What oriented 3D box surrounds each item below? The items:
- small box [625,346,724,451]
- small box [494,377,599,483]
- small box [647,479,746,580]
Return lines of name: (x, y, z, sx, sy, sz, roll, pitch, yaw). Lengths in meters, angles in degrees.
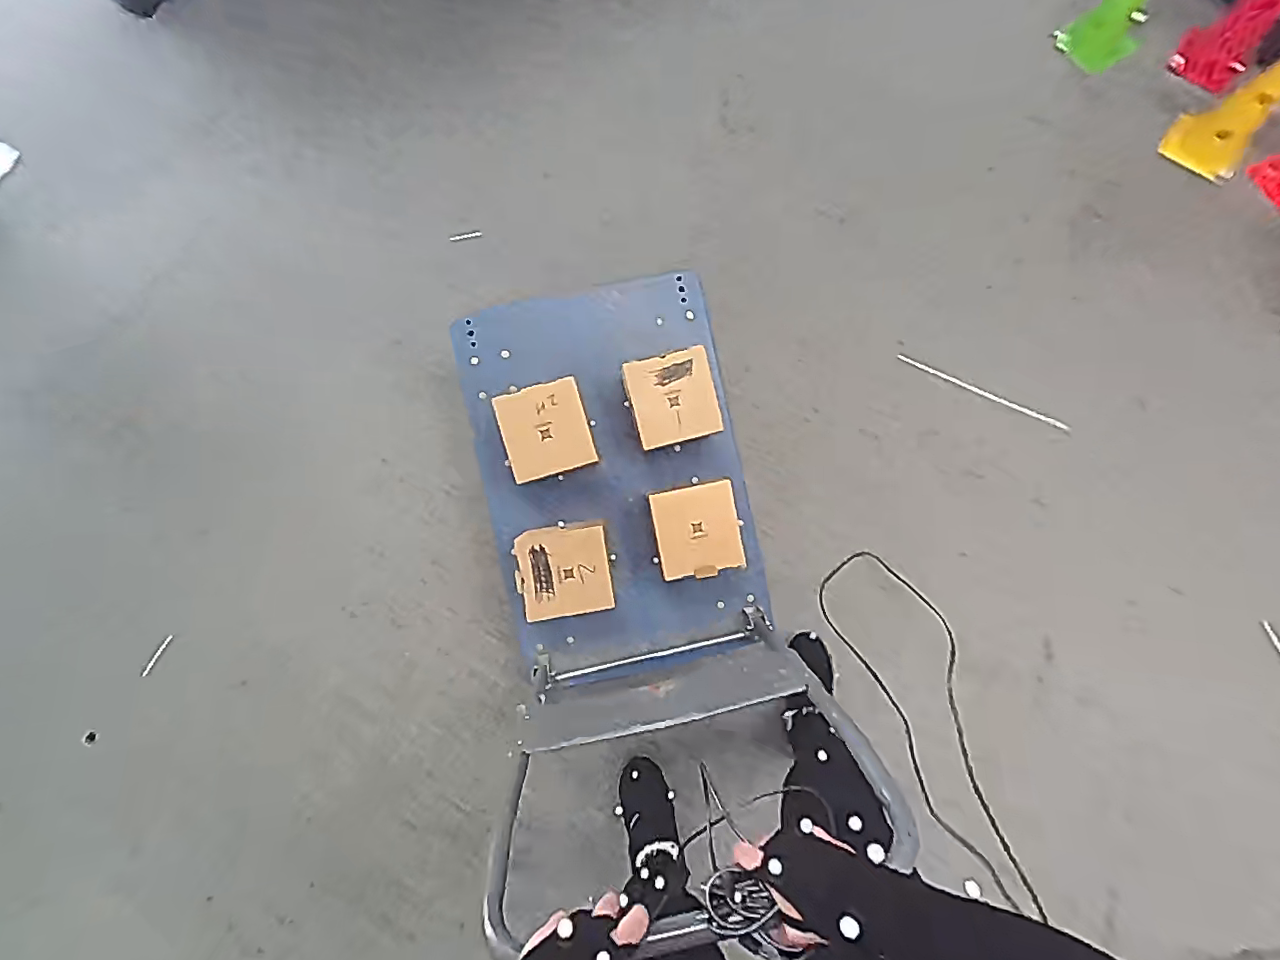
small box: (0.065, -0.162, 1.130, 0.168, 0.176, 0.179, -14, 93, -1)
small box: (-0.185, -0.099, 1.123, 0.168, 0.176, 0.179, -16, 92, -2)
small box: (0.110, 0.097, 1.140, 0.168, 0.176, 0.179, -11, 92, -1)
